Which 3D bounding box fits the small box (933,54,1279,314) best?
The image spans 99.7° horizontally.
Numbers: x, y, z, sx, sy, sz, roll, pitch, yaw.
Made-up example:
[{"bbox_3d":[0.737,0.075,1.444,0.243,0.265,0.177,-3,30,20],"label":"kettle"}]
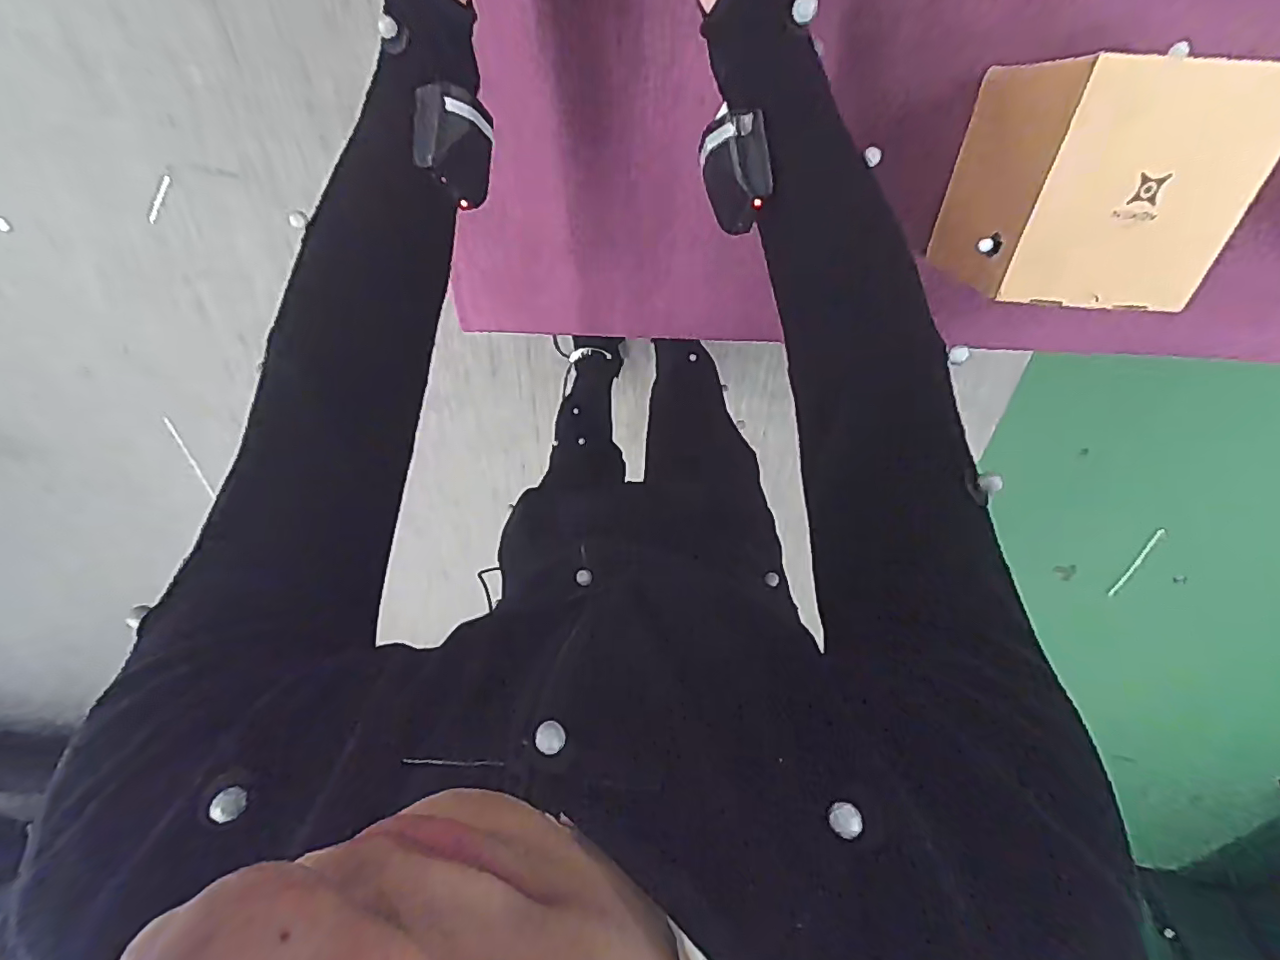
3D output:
[{"bbox_3d":[0.402,-0.269,0.494,0.168,0.176,0.179,4,126,1],"label":"small box"}]
